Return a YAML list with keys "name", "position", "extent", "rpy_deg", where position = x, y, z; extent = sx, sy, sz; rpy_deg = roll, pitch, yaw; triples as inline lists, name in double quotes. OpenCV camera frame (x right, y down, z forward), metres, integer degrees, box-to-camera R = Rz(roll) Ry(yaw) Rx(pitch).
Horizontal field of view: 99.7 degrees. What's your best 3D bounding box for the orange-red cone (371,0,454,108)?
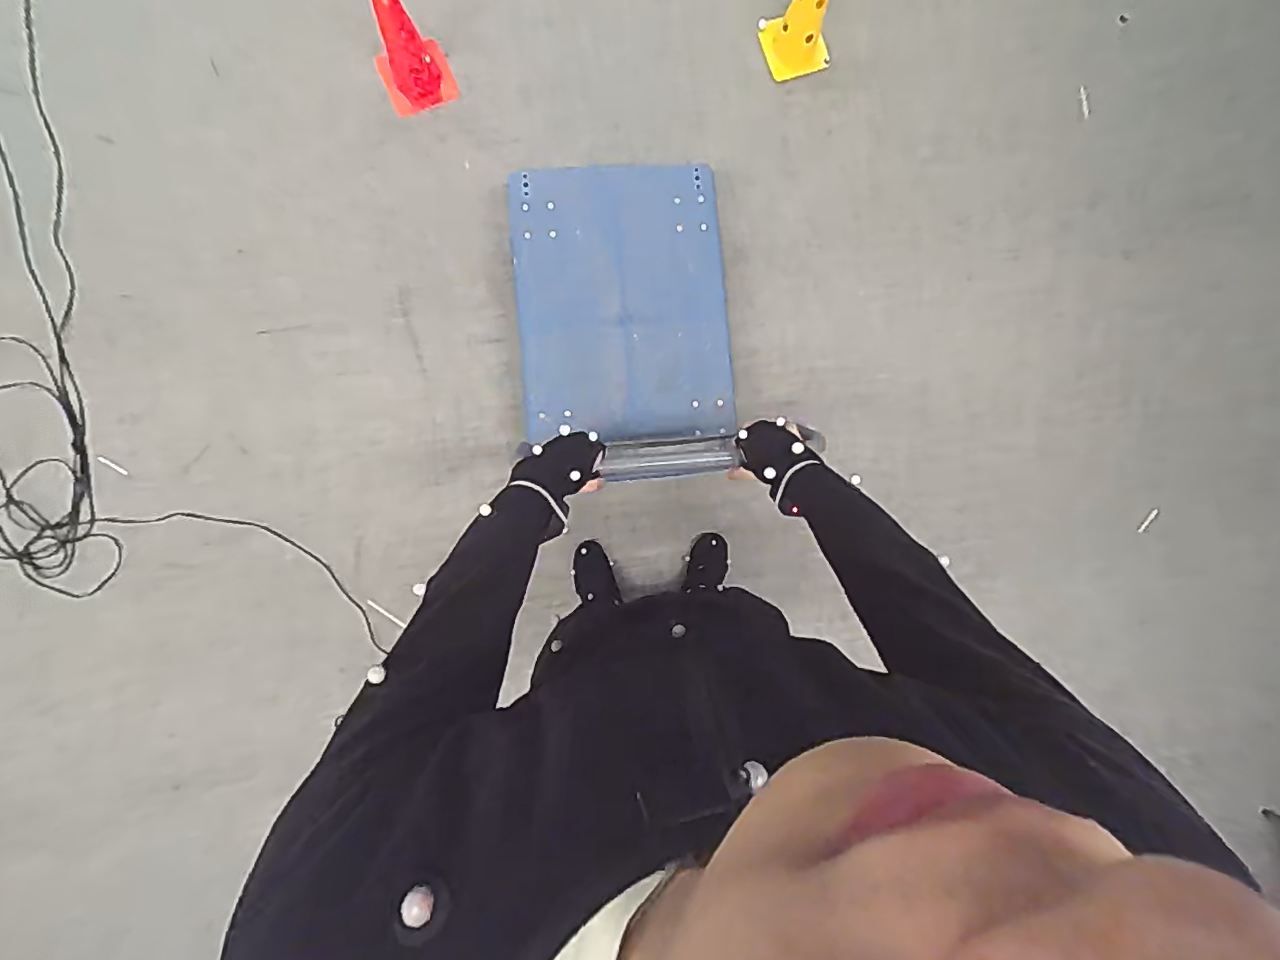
- name: "orange-red cone"
  position: [-0.672, -1.241, 1.461]
  extent: [0.199, 0.360, 0.198]
  rpy_deg: [-23, 89, -3]
